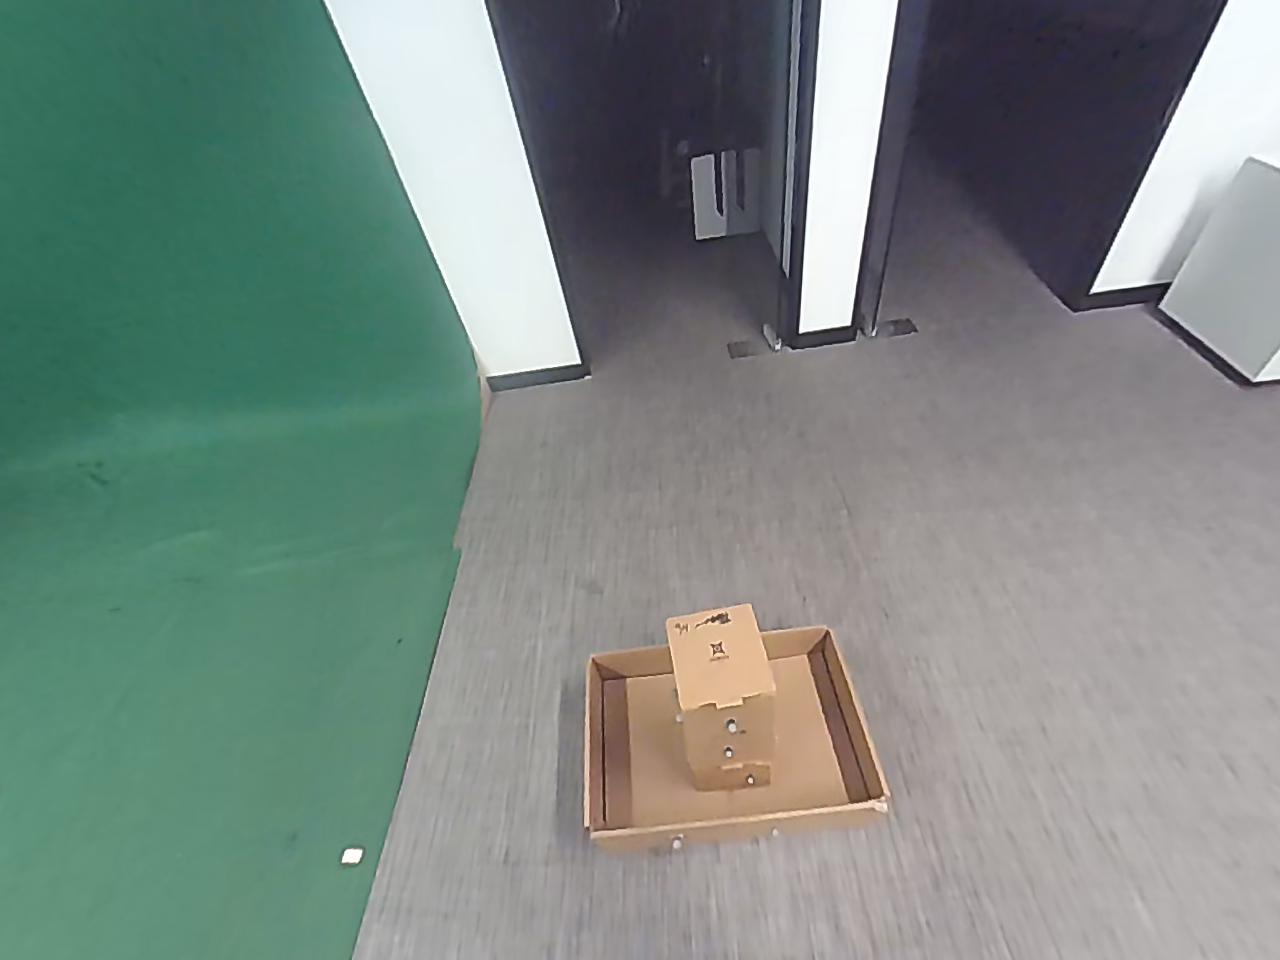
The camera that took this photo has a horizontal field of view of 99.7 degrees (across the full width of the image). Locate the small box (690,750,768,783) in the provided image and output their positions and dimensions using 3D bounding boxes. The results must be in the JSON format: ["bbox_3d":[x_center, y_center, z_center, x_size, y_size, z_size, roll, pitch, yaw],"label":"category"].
[{"bbox_3d":[0.199,0.585,1.249,0.168,0.176,0.179,-7,44,5],"label":"small box"}]

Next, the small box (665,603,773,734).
[{"bbox_3d":[0.148,0.361,1.017,0.168,0.176,0.179,-11,46,2],"label":"small box"}]

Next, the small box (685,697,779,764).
[{"bbox_3d":[0.177,0.474,1.131,0.179,0.176,0.168,-10,46,0],"label":"small box"}]
